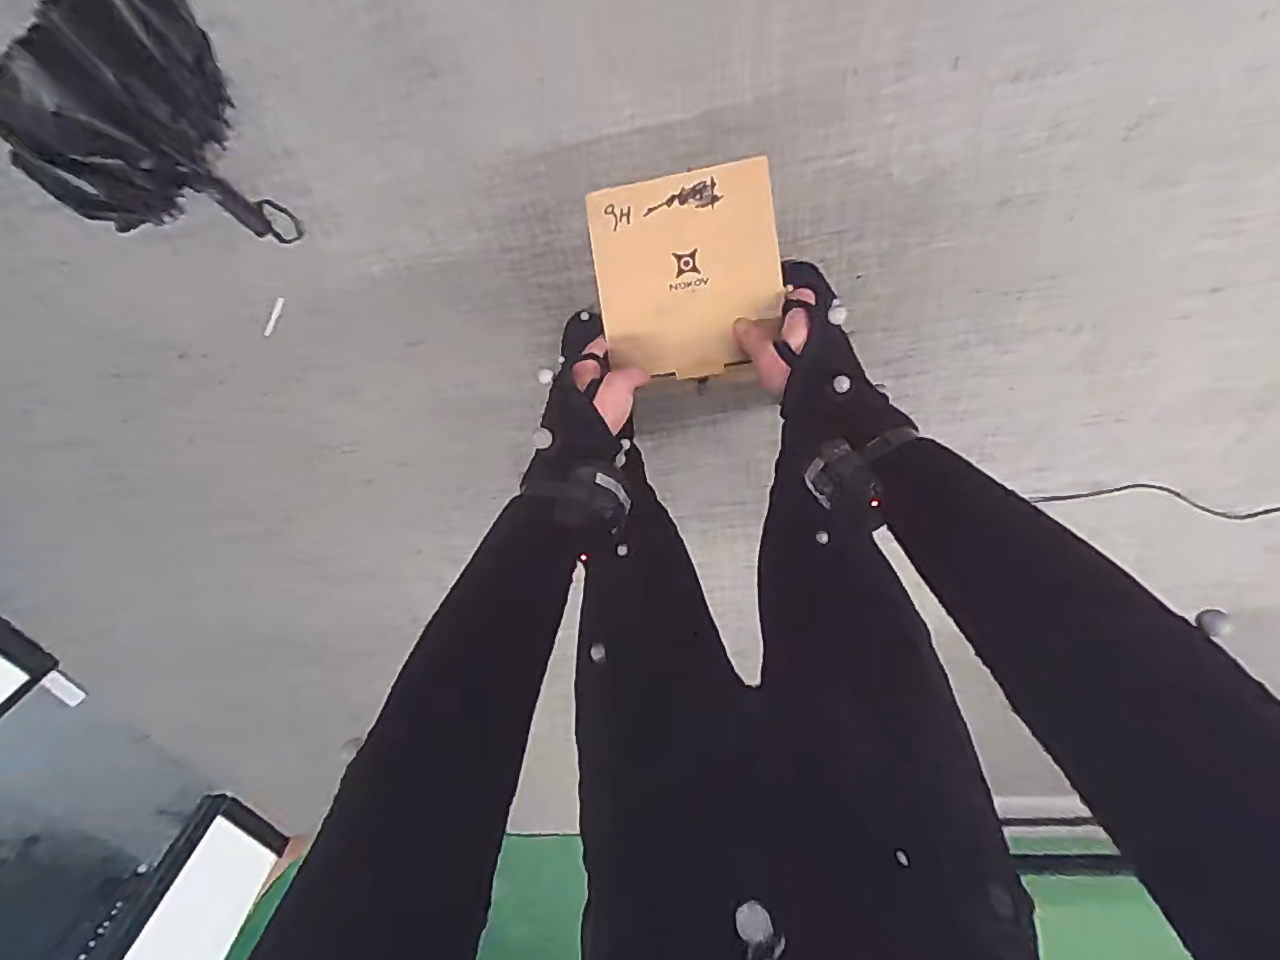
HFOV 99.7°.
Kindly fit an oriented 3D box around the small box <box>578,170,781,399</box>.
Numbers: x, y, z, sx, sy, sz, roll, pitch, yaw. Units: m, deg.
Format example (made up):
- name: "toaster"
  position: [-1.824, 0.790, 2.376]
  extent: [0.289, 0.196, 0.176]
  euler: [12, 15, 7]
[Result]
- name: "small box"
  position: [0.045, -0.182, 0.562]
  extent: [0.168, 0.176, 0.179]
  euler: [-8, 96, 7]
